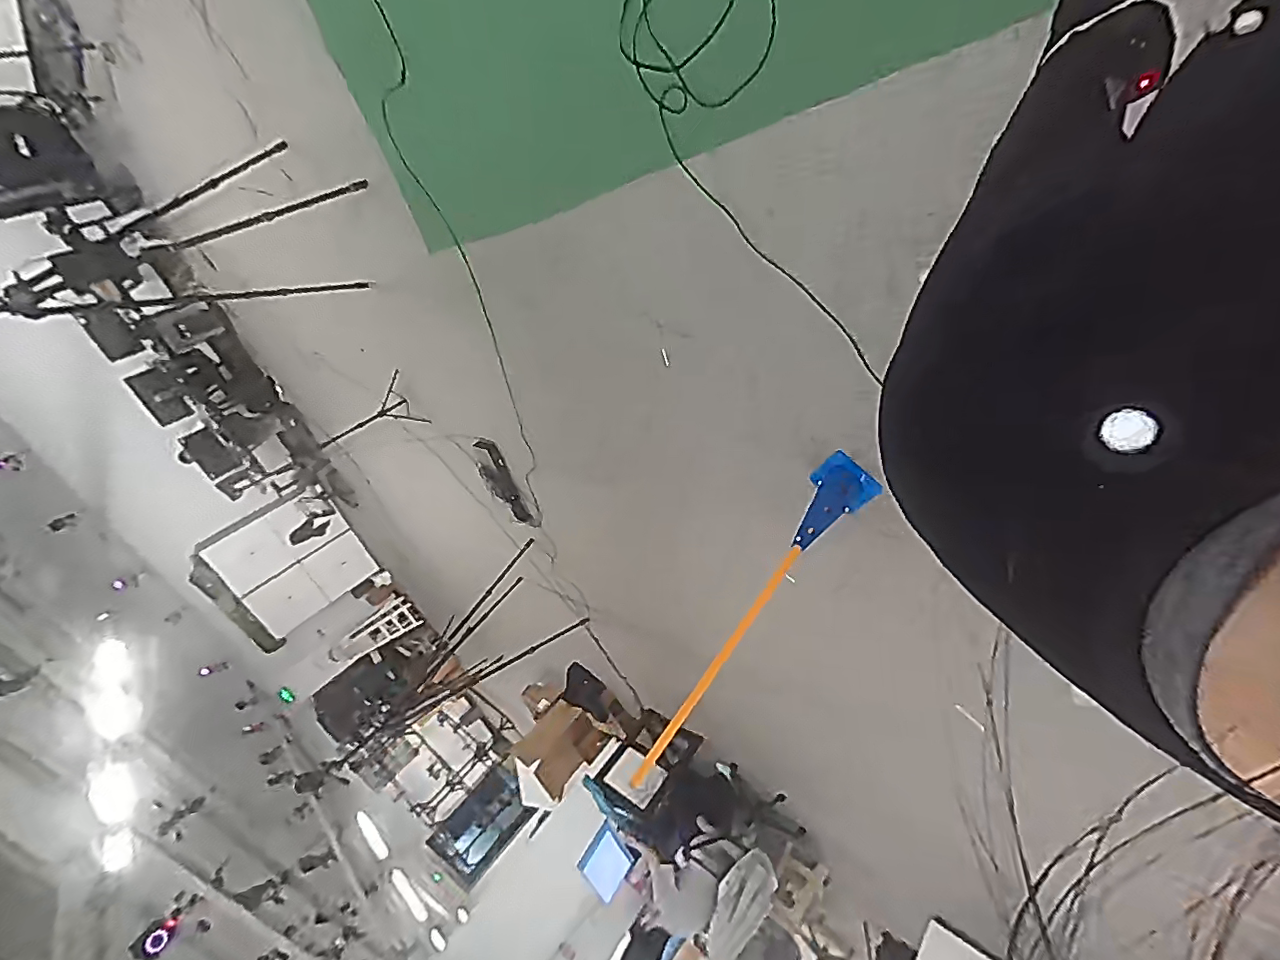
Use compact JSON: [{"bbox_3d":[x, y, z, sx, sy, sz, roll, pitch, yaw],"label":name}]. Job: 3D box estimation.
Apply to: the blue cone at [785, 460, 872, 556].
[{"bbox_3d":[0.601,0.127,1.813,0.192,0.380,0.193,42,148,9],"label":"blue cone"}]
